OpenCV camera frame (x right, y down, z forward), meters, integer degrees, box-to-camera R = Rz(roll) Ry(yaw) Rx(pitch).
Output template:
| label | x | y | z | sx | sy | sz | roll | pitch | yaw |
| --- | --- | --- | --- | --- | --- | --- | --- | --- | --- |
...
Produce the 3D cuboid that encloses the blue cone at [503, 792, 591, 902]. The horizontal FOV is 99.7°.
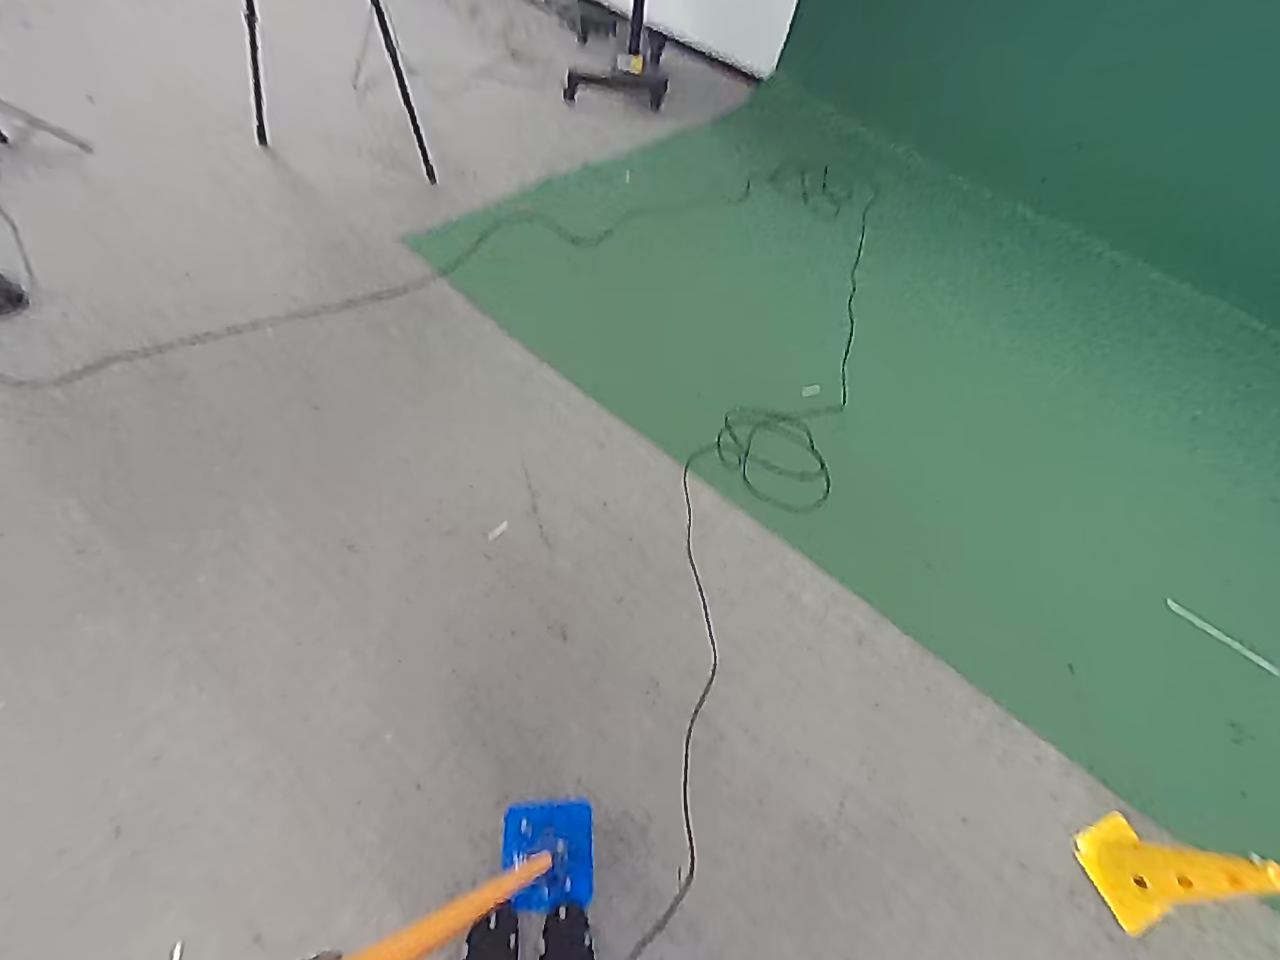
| label | x | y | z | sx | sy | sz | roll | pitch | yaw |
| --- | --- | --- | --- | --- | --- | --- | --- | --- | --- |
| blue cone | -0.186 | 0.719 | 1.053 | 0.193 | 0.380 | 0.192 | -1 | 58 | -8 |
